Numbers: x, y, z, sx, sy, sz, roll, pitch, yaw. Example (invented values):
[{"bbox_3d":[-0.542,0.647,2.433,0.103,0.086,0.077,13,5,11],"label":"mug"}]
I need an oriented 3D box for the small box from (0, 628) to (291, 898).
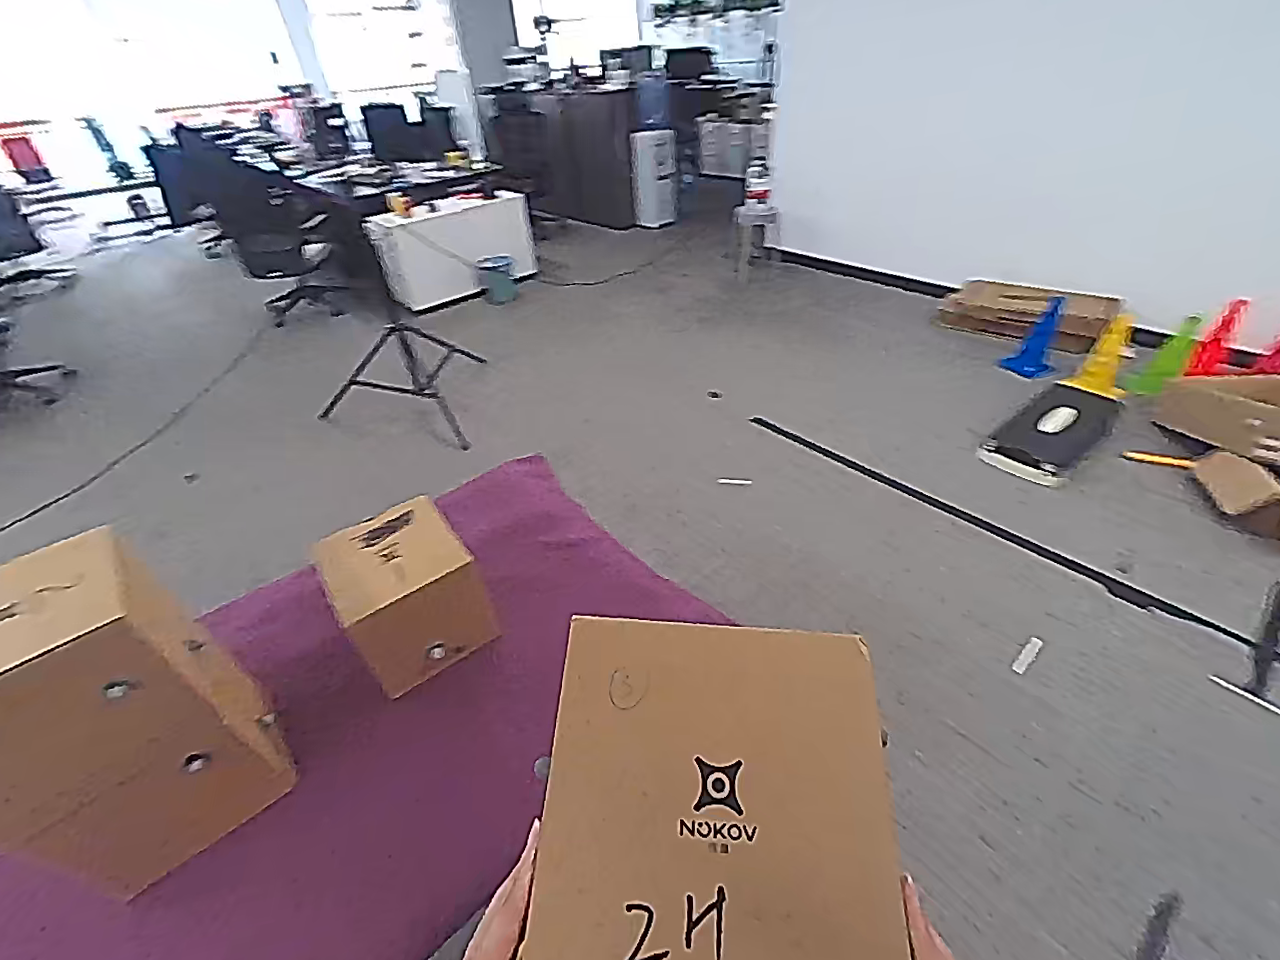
[{"bbox_3d":[-0.537,0.311,0.606,0.179,0.176,0.168,-31,45,-30],"label":"small box"}]

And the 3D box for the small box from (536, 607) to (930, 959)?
[{"bbox_3d":[0.046,0.194,0.324,0.168,0.176,0.179,4,58,5],"label":"small box"}]

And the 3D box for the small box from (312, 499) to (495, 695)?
[{"bbox_3d":[-0.330,0.163,0.768,0.168,0.176,0.179,-28,45,-27],"label":"small box"}]
